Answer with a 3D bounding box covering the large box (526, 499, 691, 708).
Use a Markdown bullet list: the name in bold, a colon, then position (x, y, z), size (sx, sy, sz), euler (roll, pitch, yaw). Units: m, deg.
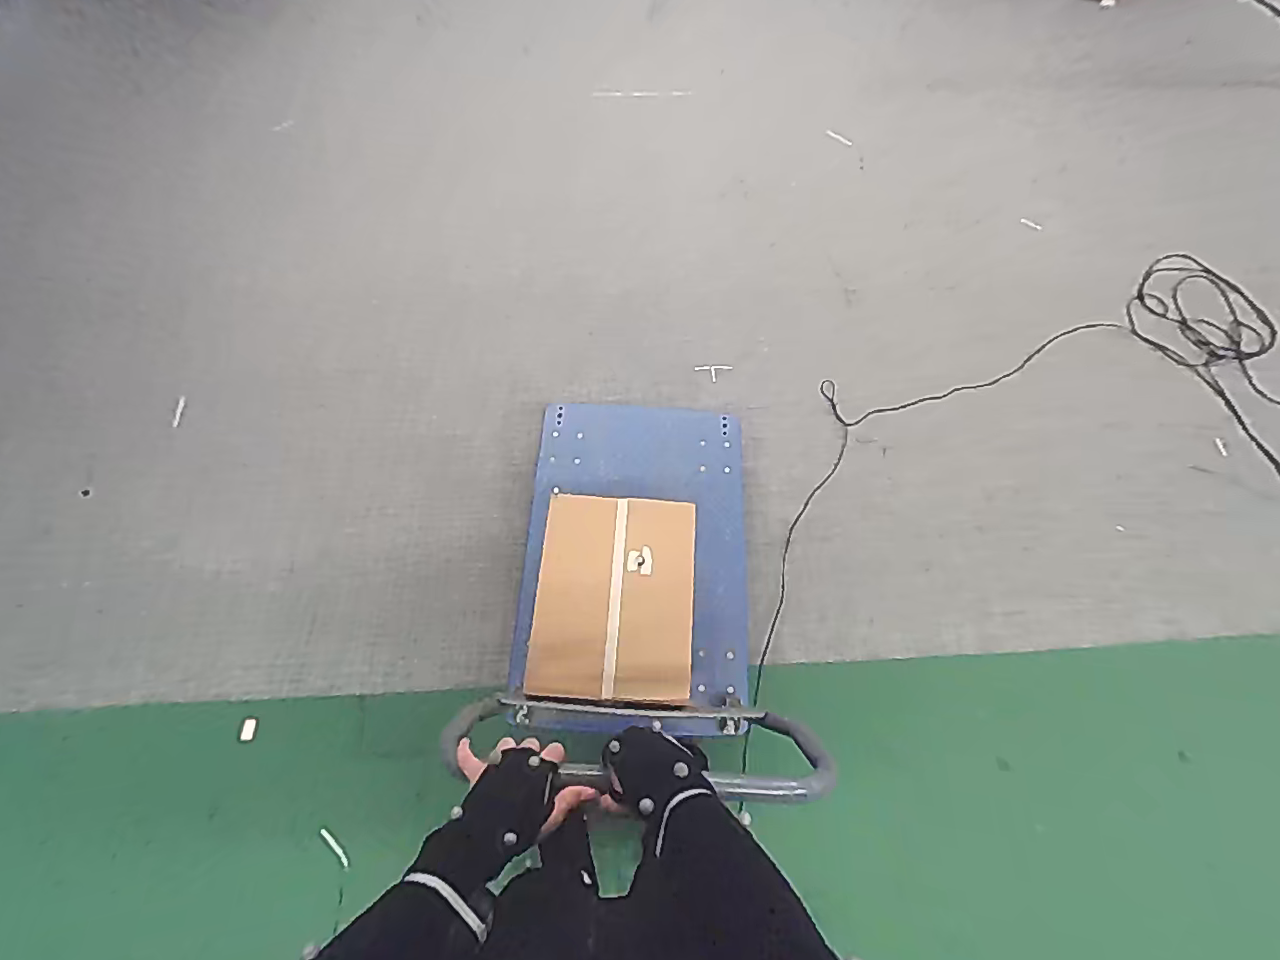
- **large box**: position (-0.057, 0.292, 1.221), size (0.320, 0.320, 0.408), euler (4, 66, -1)
